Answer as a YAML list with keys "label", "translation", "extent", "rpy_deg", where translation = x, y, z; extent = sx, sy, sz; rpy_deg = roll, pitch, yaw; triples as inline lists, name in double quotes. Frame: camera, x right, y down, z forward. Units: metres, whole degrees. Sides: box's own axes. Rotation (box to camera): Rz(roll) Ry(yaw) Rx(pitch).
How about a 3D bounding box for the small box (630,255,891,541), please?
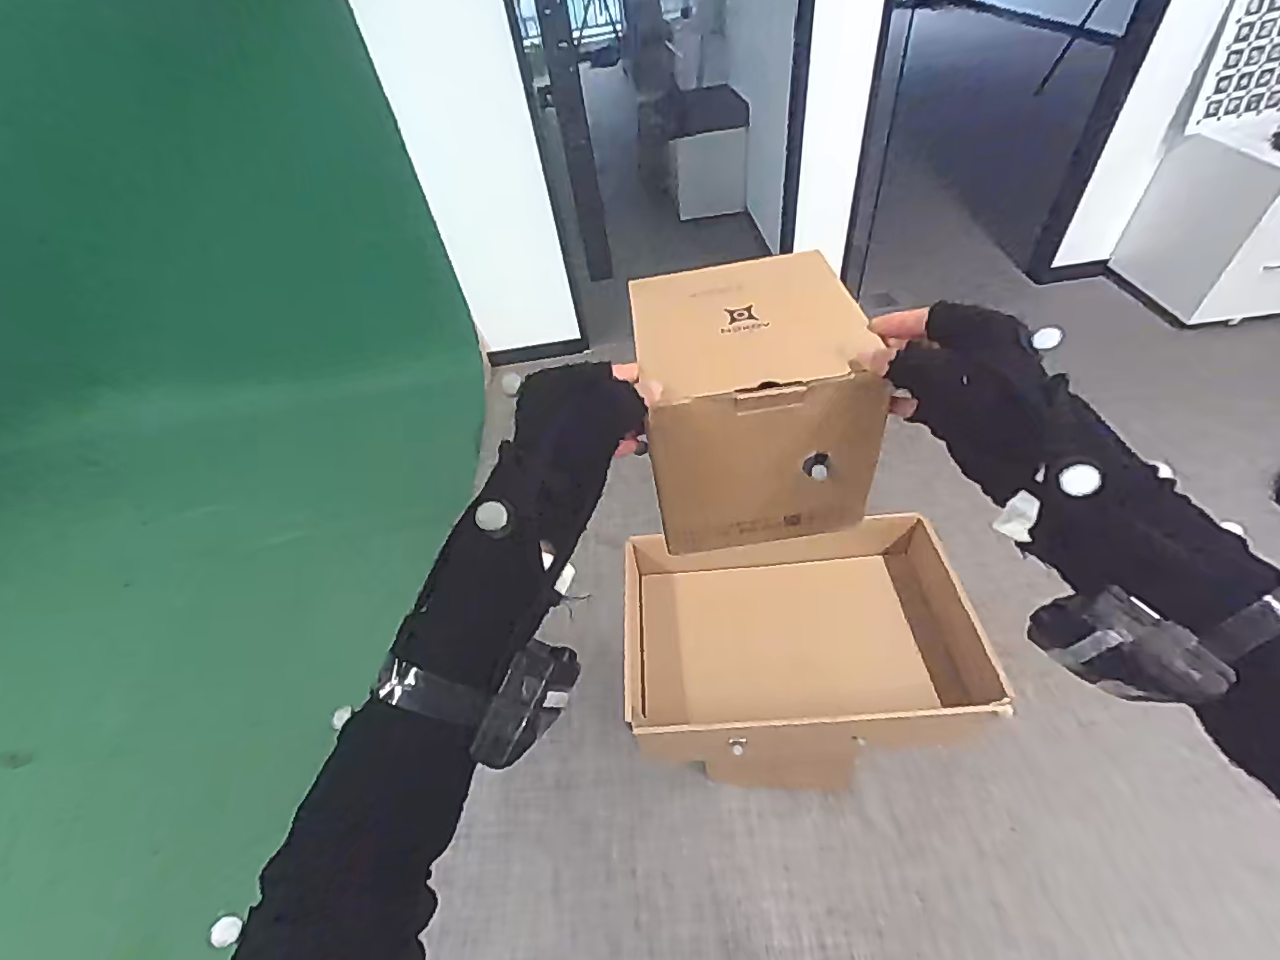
- label: "small box"
  translation: [0.088, -0.063, 0.463]
  extent: [0.168, 0.176, 0.179]
  rpy_deg: [-9, 45, 2]
